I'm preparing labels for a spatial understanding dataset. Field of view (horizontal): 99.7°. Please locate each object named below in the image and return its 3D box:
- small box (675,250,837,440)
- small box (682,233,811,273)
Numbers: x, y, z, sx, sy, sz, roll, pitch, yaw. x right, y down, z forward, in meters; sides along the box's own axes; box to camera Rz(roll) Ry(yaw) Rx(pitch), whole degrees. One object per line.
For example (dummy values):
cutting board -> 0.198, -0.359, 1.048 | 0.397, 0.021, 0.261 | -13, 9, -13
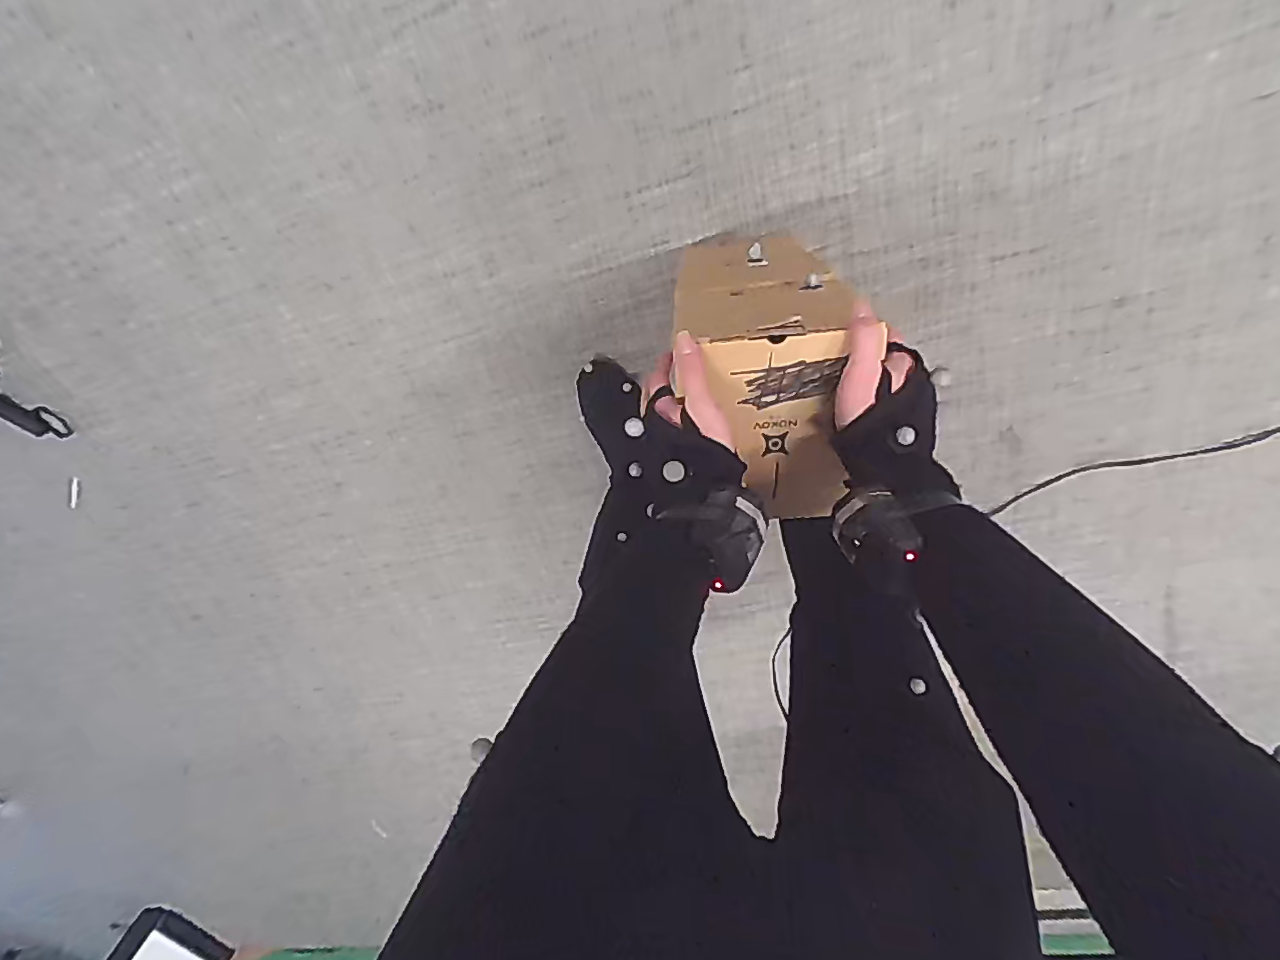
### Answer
small box -> 0.137, -0.167, 0.660 | 0.168, 0.176, 0.179 | -5, 119, 9
small box -> 0.155, -0.250, 0.798 | 0.168, 0.176, 0.179 | -3, 121, 10
